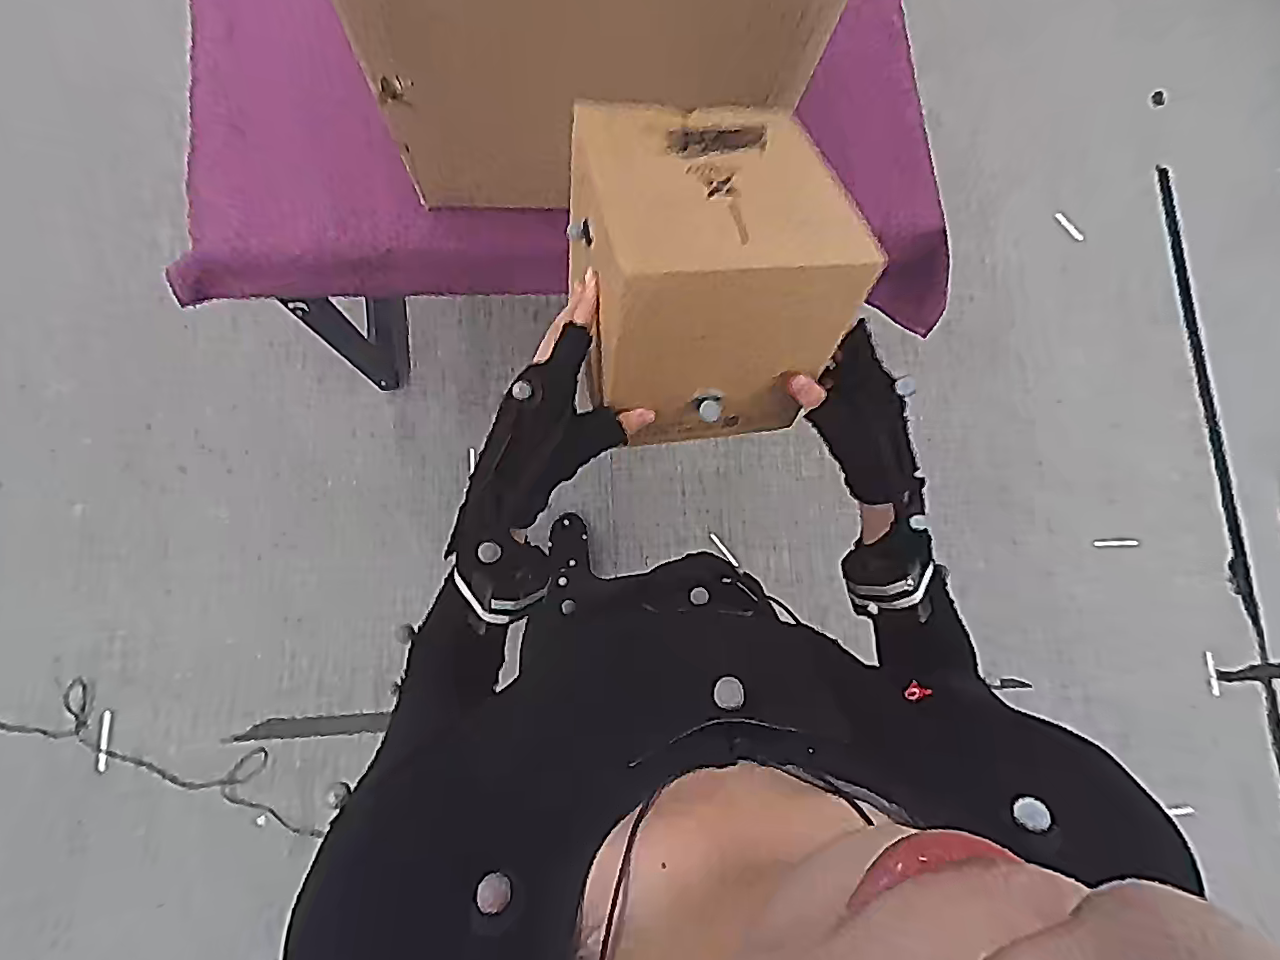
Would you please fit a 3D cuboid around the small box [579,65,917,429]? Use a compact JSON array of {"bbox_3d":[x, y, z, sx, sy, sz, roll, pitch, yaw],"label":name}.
[{"bbox_3d":[0.049,-0.159,0.393,0.168,0.176,0.179,-7,61,-12],"label":"small box"}]
